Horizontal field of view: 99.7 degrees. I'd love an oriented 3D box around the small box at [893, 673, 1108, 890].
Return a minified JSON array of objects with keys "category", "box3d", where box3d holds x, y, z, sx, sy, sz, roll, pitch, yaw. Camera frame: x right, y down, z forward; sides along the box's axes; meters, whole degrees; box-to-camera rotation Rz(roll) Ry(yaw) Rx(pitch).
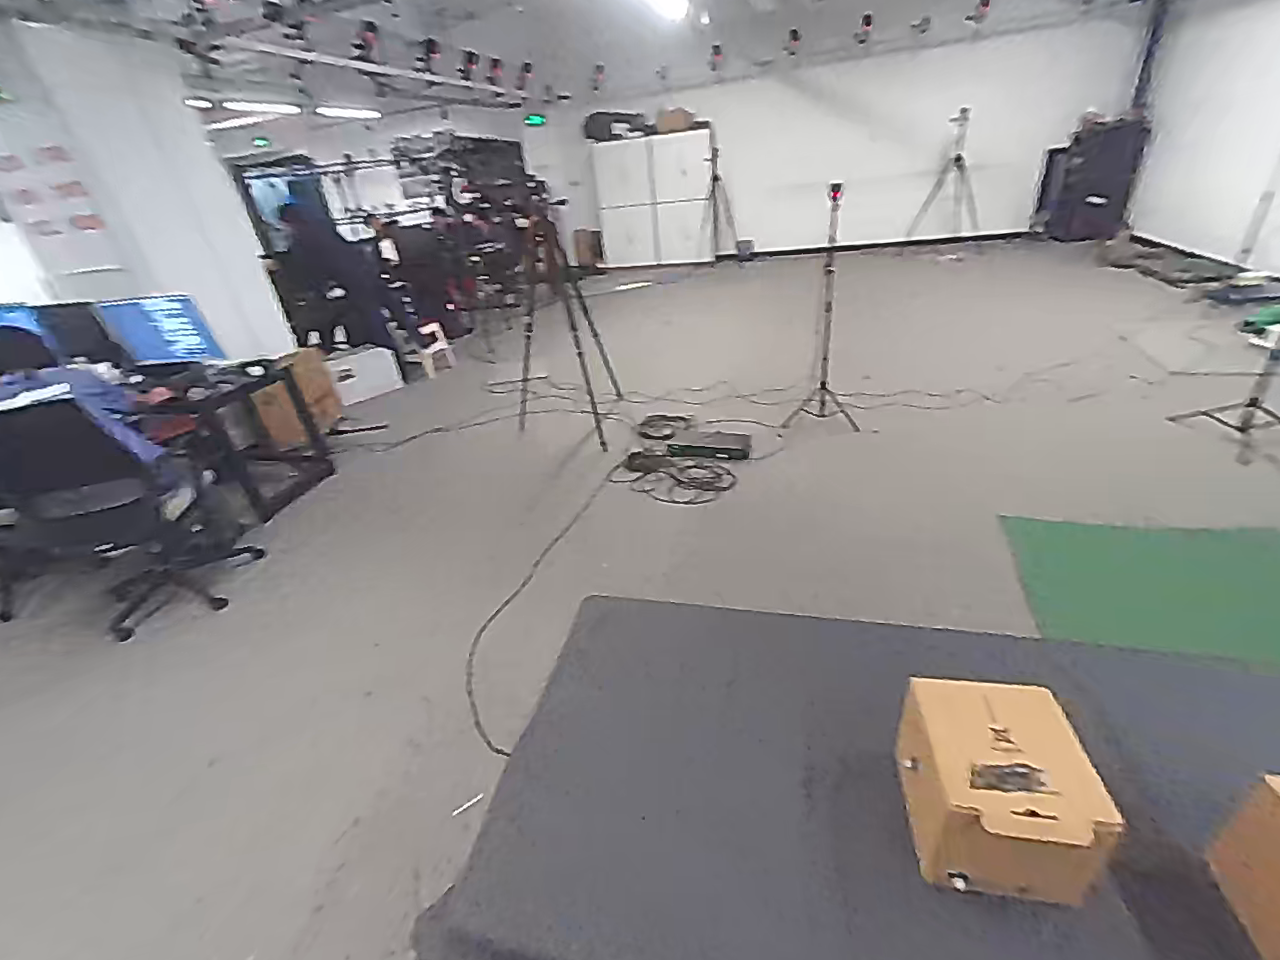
[{"category":"small box","box3d":[0.430,0.375,0.683,0.168,0.176,0.179,0,30,12]}]
